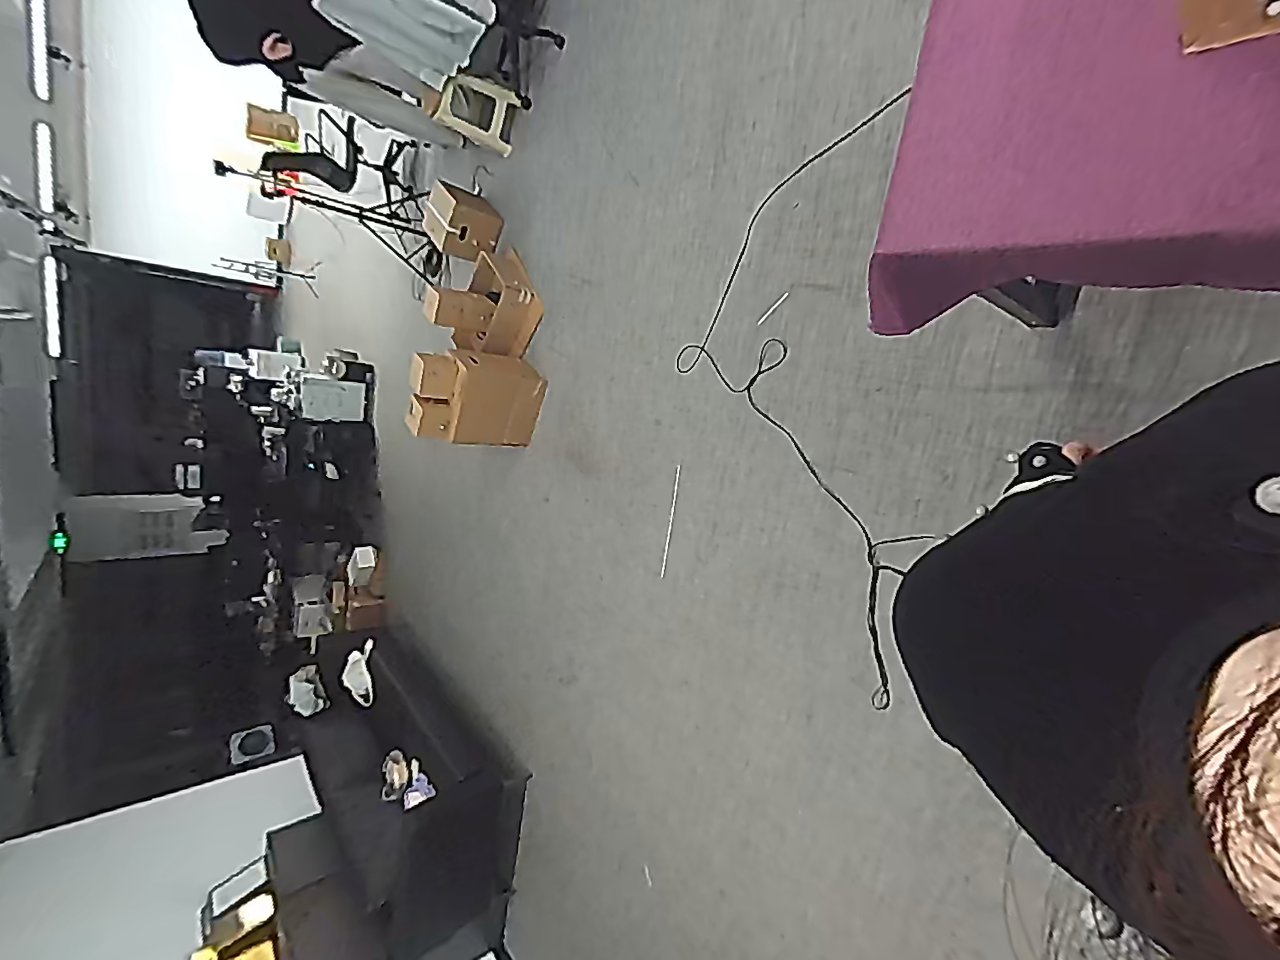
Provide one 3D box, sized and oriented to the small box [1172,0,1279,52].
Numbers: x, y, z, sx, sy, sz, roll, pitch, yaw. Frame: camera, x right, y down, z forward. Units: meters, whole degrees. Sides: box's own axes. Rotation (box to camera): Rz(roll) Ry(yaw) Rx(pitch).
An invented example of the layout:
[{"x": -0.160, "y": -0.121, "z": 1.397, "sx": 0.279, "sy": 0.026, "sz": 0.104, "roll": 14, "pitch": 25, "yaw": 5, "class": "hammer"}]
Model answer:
[{"x": 0.598, "y": -0.531, "z": 0.471, "sx": 0.168, "sy": 0.176, "sz": 0.179, "roll": 22, "pitch": 107, "yaw": 46, "class": "small box"}]
